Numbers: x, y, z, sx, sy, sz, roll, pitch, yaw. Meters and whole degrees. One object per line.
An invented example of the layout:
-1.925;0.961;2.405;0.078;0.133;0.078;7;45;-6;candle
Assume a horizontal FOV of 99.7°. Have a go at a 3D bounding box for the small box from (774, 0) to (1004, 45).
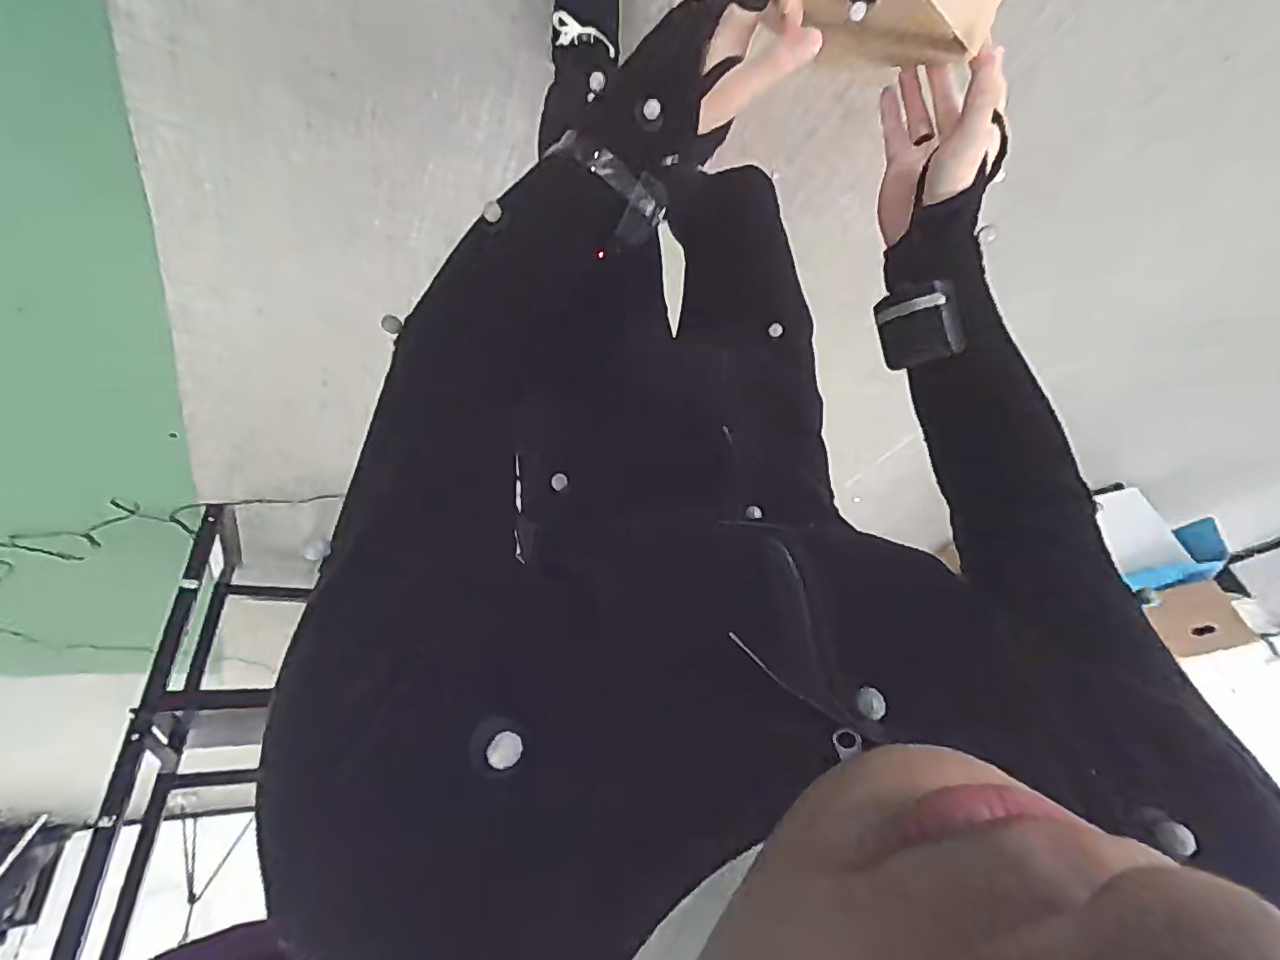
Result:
0.186;-0.458;0.399;0.179;0.176;0.168;5;116;-38;small box
